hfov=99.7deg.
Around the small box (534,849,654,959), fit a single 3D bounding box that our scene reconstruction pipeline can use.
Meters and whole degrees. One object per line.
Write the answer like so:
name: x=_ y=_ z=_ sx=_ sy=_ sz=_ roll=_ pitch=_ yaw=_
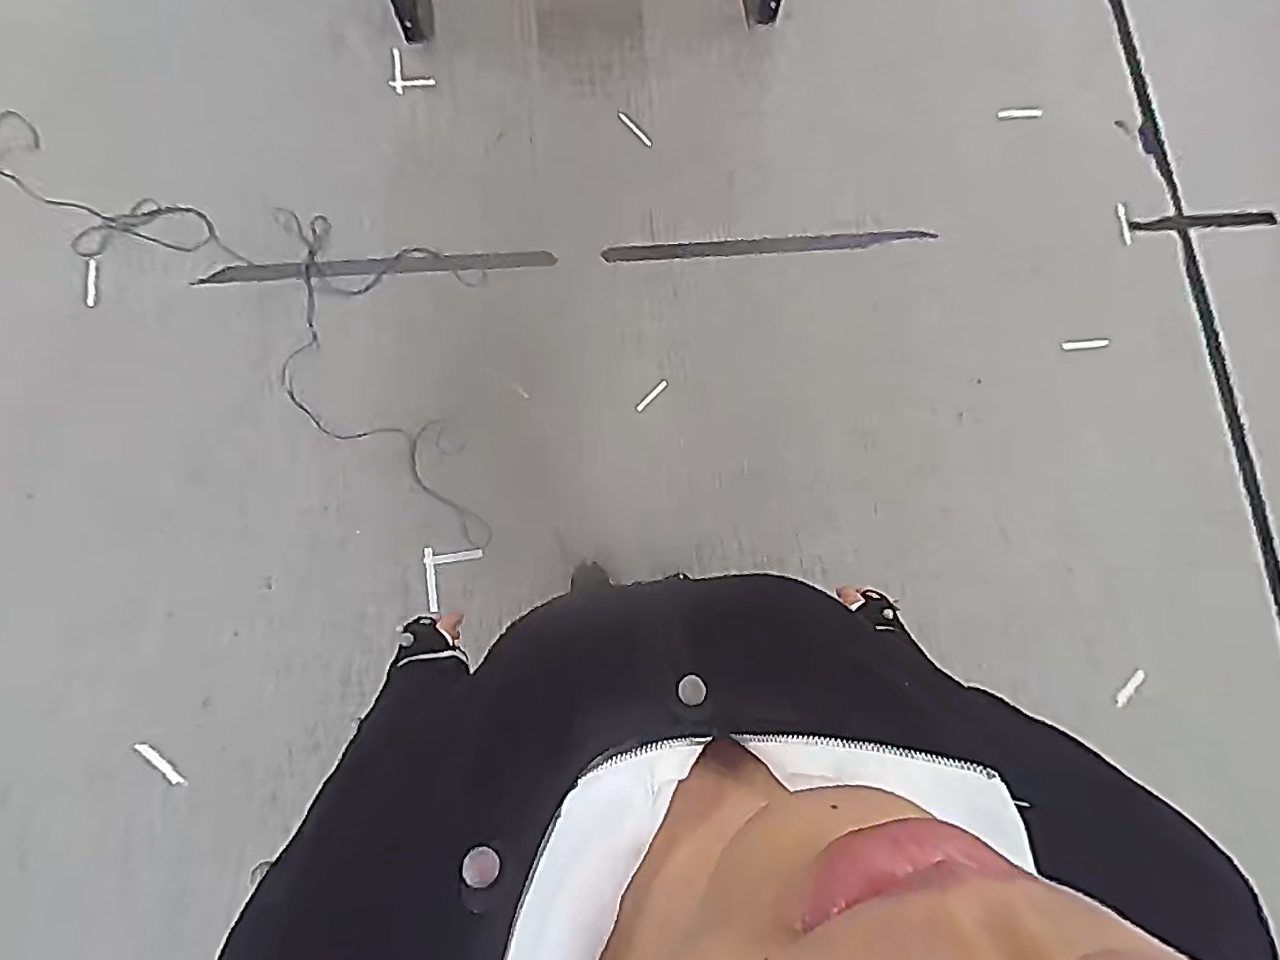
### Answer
small box: x=-0.065 y=0.728 z=0.853 sx=0.168 sy=0.176 sz=0.179 roll=-8 pitch=79 yaw=-4
